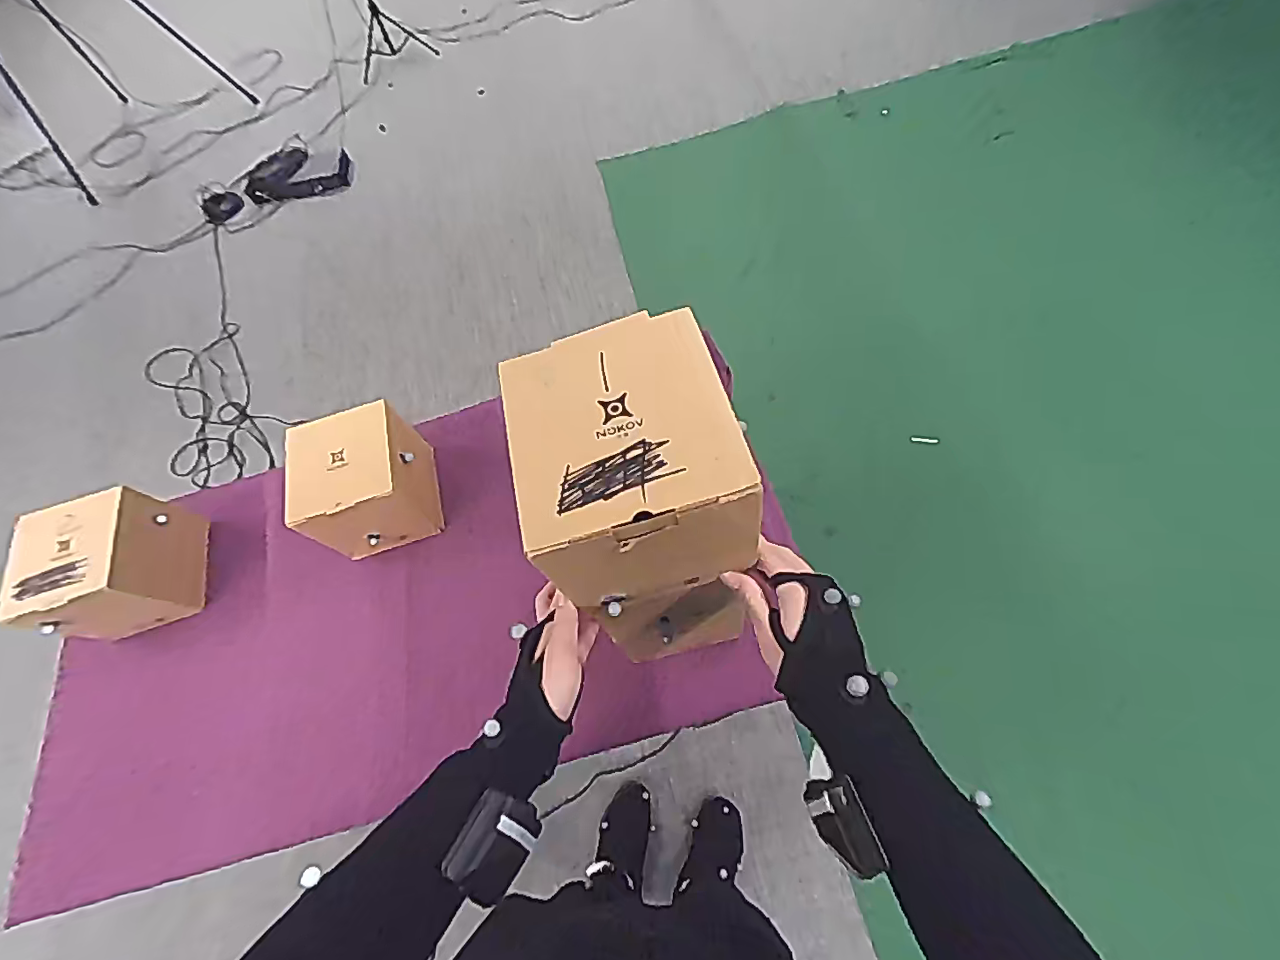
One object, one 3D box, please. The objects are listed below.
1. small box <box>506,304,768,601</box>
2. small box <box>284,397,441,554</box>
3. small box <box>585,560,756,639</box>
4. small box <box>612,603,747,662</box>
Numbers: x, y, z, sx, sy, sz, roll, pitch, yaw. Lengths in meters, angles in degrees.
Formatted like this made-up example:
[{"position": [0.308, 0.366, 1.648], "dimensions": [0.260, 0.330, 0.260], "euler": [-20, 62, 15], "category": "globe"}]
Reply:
[{"position": [0.001, -0.009, 0.460], "dimensions": [0.168, 0.176, 0.179], "euler": [-15, 60, 1], "category": "small box"}, {"position": [-0.445, -0.002, 0.884], "dimensions": [0.168, 0.176, 0.179], "euler": [-17, 64, -2], "category": "small box"}, {"position": [0.021, 0.060, 0.607], "dimensions": [0.168, 0.176, 0.179], "euler": [-15, 61, 1], "category": "small box"}, {"position": [0.043, 0.135, 0.751], "dimensions": [0.168, 0.176, 0.179], "euler": [-14, 61, 2], "category": "small box"}]
